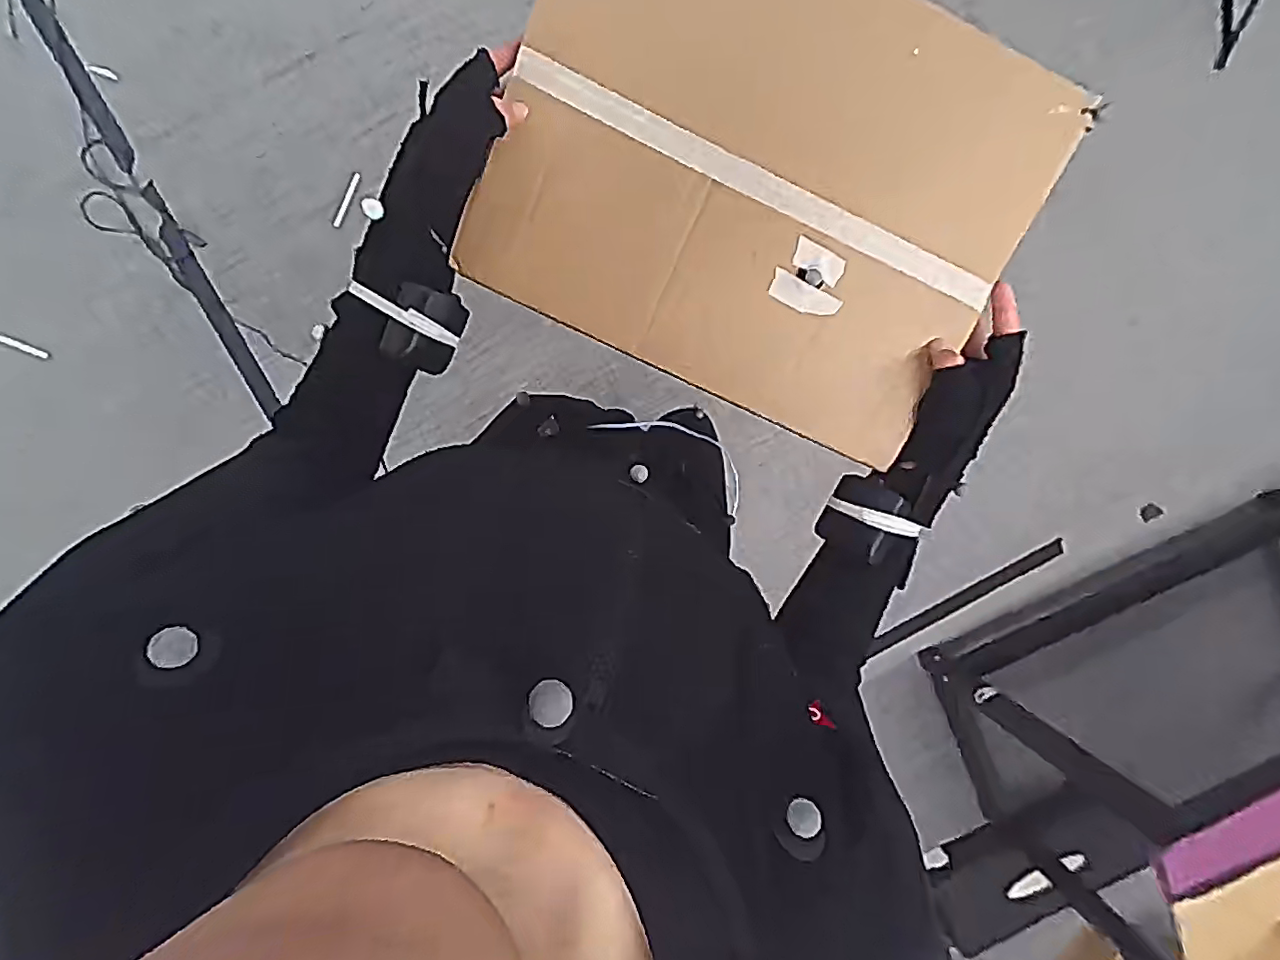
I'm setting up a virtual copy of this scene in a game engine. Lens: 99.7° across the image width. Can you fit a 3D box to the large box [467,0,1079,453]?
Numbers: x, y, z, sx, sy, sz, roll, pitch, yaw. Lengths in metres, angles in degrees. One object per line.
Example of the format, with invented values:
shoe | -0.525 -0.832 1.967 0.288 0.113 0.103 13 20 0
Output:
large box | 0.096 -0.269 0.572 0.408 0.320 0.320 24 104 -6
